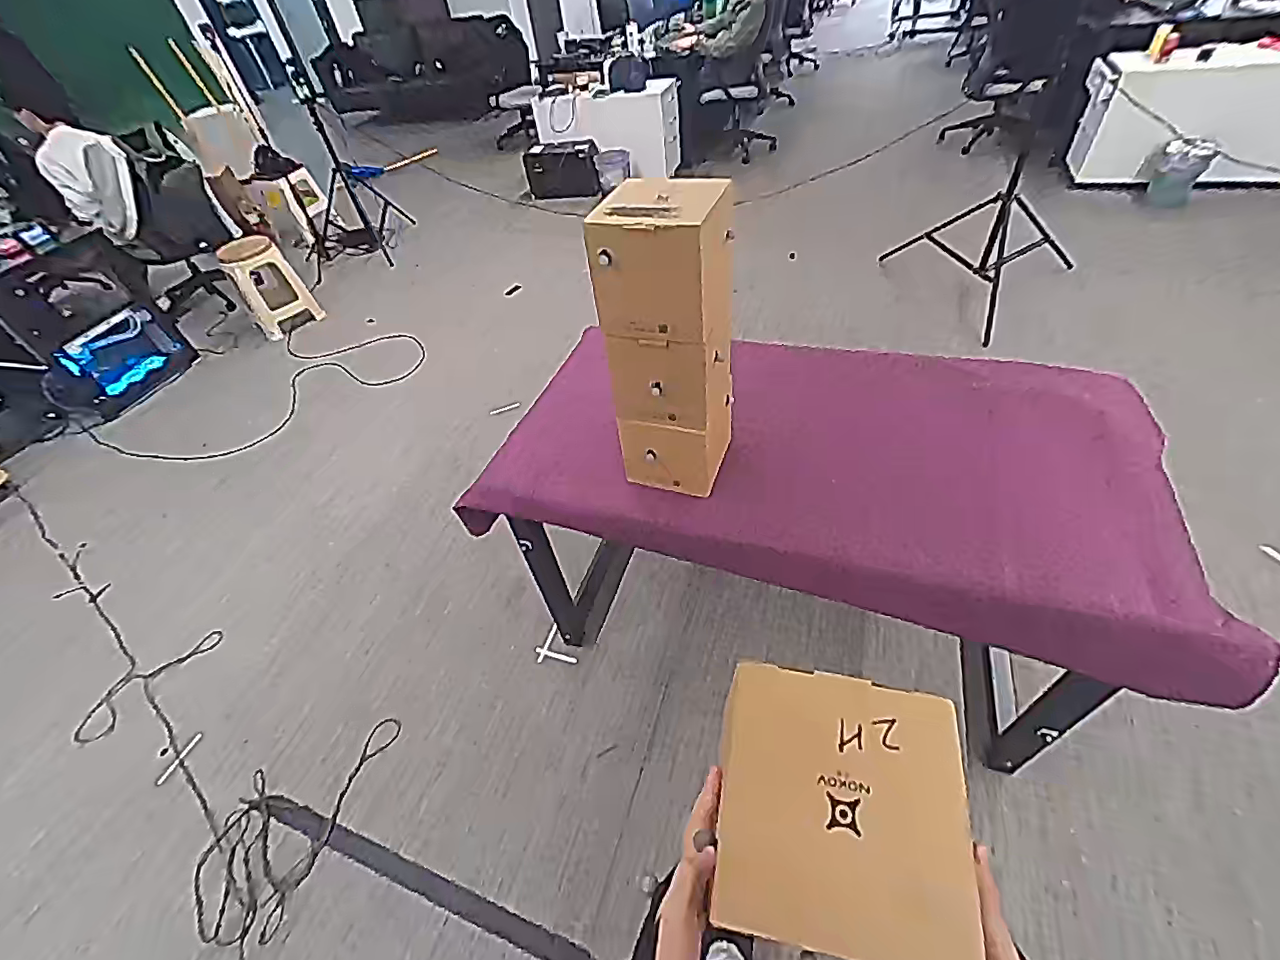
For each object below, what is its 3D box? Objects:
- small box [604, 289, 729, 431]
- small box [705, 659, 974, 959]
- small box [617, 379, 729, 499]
[{"bbox_3d":[0.055,-0.204,0.925,0.168,0.176,0.179,10,49,17],"label":"small box"},{"bbox_3d":[0.148,0.277,0.451,0.168,0.176,0.179,9,54,9],"label":"small box"},{"bbox_3d":[0.072,-0.087,1.038,0.168,0.176,0.179,12,49,18],"label":"small box"}]
